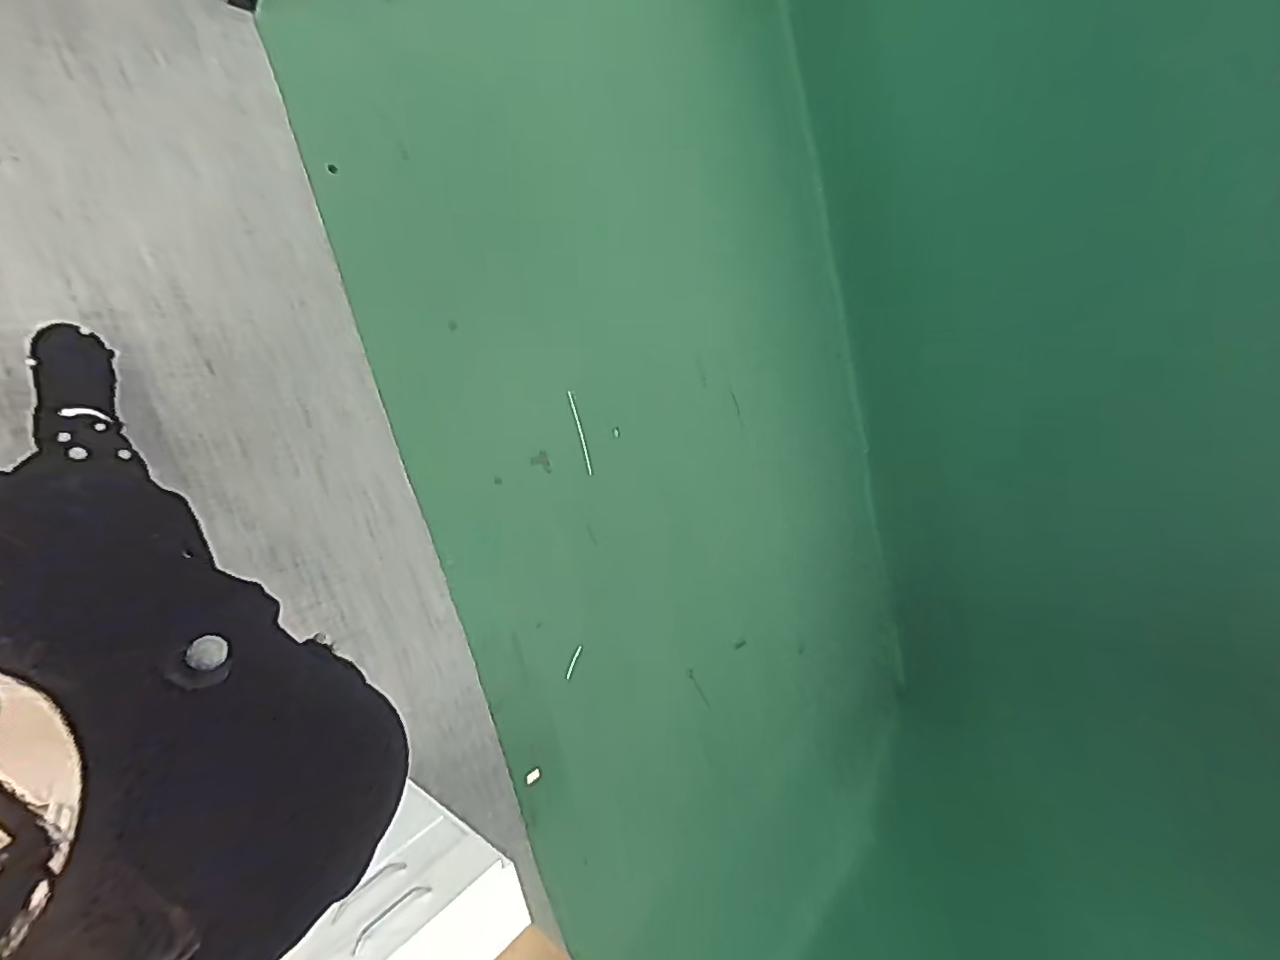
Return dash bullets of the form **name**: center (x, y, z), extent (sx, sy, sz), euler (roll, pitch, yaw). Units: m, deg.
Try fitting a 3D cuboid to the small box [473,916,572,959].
- **small box**: center (-0.219, 0.952, 0.973), extent (0.179, 0.176, 0.168), euler (-23, 104, -43)
